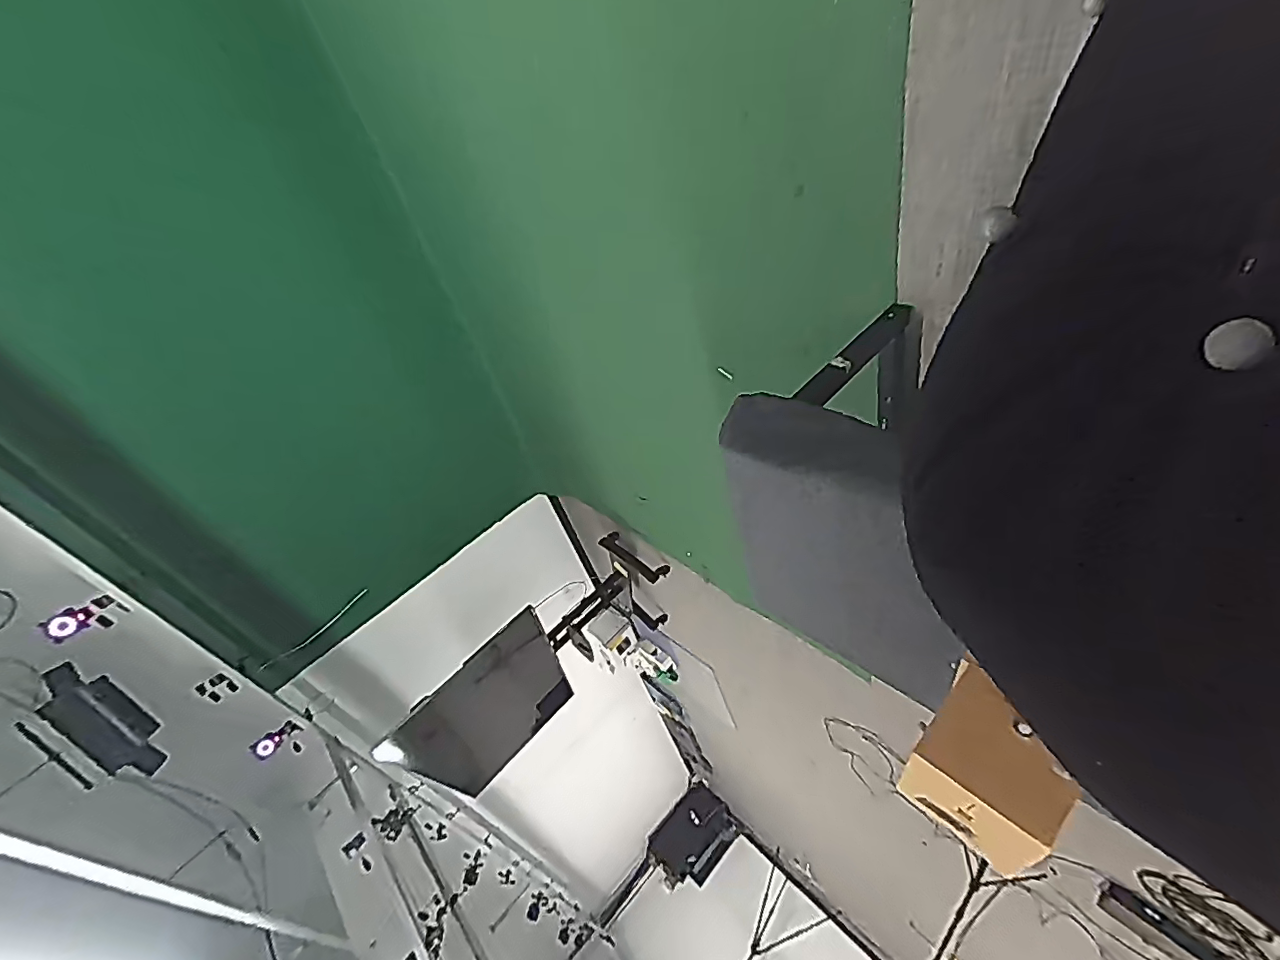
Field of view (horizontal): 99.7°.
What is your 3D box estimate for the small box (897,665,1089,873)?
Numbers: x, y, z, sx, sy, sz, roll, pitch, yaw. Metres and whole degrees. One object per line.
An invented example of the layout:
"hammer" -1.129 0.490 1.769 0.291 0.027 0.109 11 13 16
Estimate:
"small box" 0.491 0.403 0.767 0.168 0.176 0.179 31 152 41
